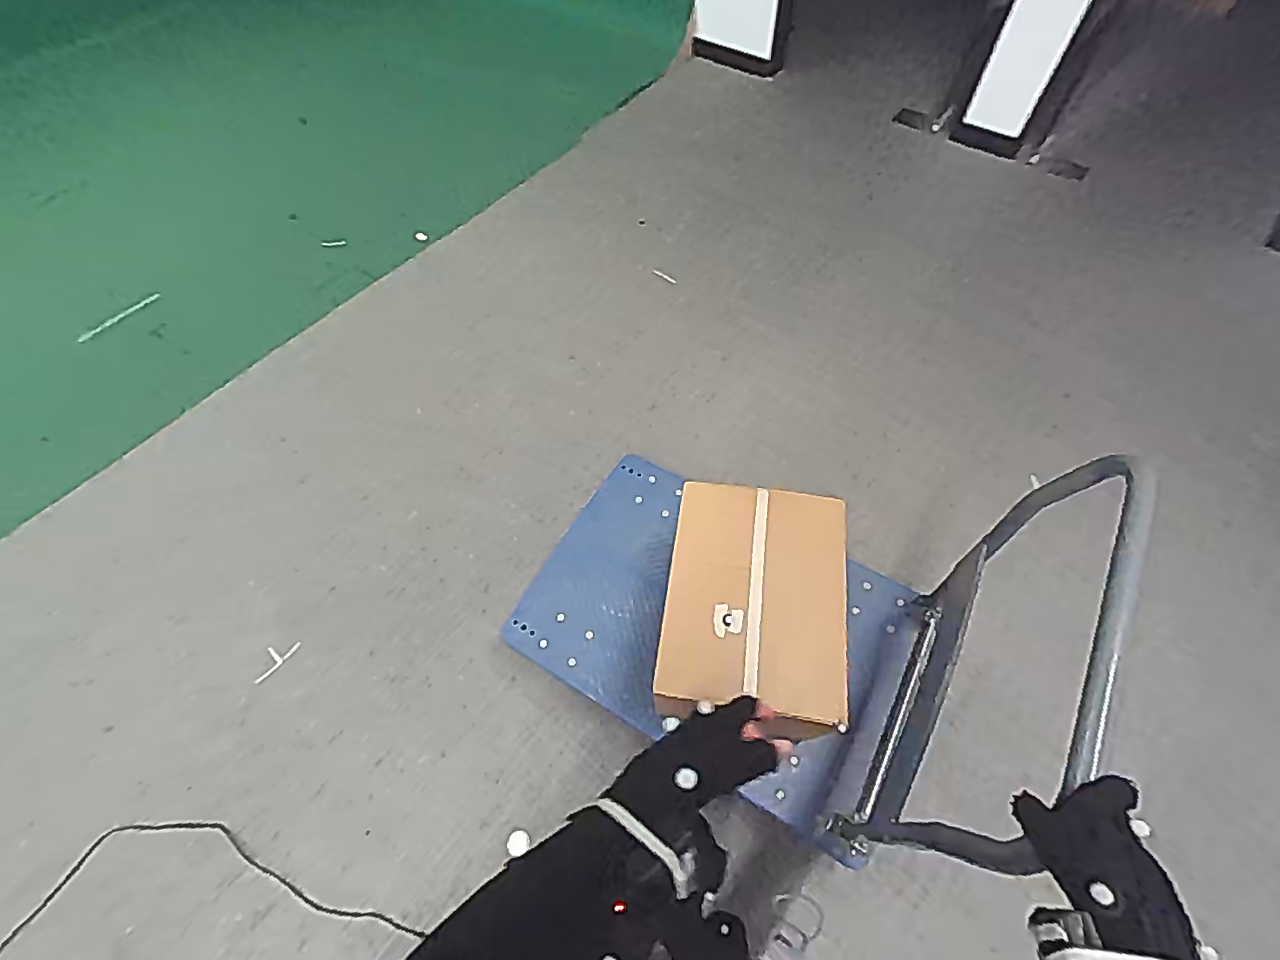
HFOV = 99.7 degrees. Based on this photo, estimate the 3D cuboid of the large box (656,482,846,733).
[{"bbox_3d":[0.212,0.262,1.095,0.320,0.320,0.408,7,62,7],"label":"large box"}]
